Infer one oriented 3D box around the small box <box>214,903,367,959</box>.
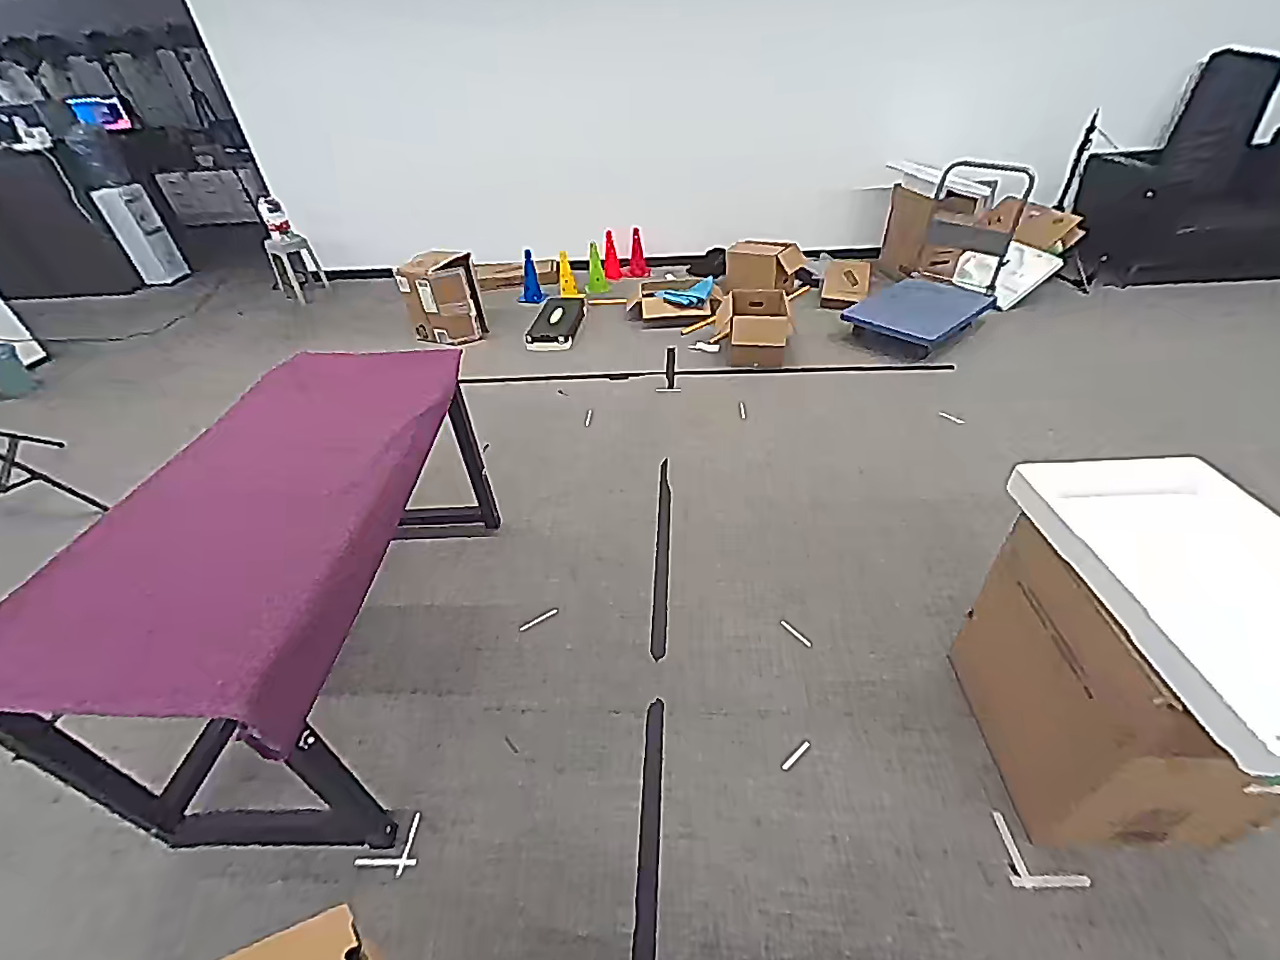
[{"bbox_3d":[-0.387,0.613,0.559,0.179,0.176,0.168,6,13,-46],"label":"small box"}]
